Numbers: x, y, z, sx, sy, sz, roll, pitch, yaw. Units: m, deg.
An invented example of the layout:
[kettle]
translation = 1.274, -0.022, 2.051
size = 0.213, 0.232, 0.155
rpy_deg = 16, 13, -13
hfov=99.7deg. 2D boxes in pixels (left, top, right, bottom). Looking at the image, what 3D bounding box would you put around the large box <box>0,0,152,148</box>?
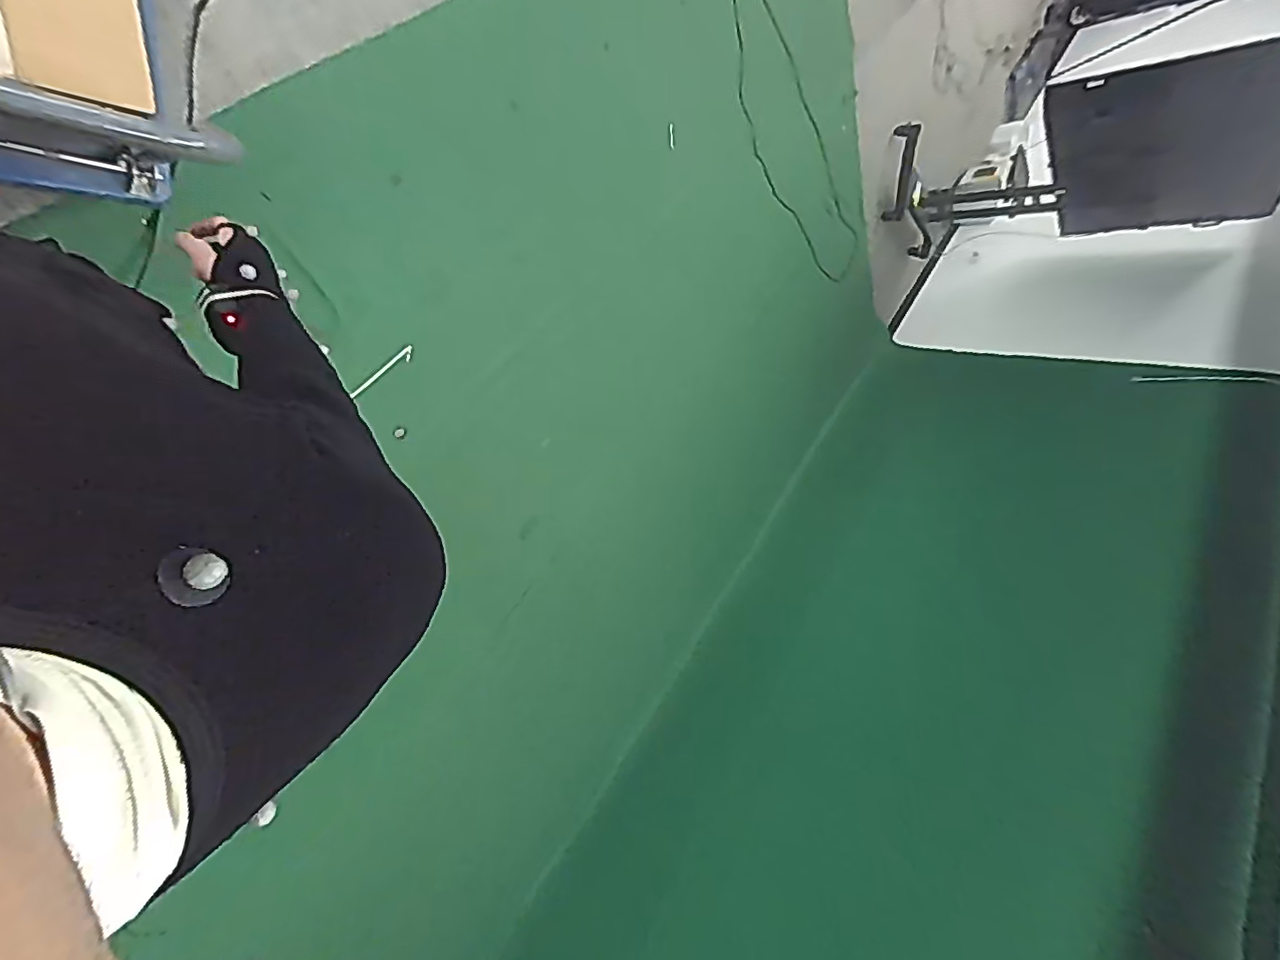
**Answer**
[large box]
translation = -0.960, -0.753, 0.766
size = 0.320, 0.320, 0.408
rpy_deg = -16, 114, -47
